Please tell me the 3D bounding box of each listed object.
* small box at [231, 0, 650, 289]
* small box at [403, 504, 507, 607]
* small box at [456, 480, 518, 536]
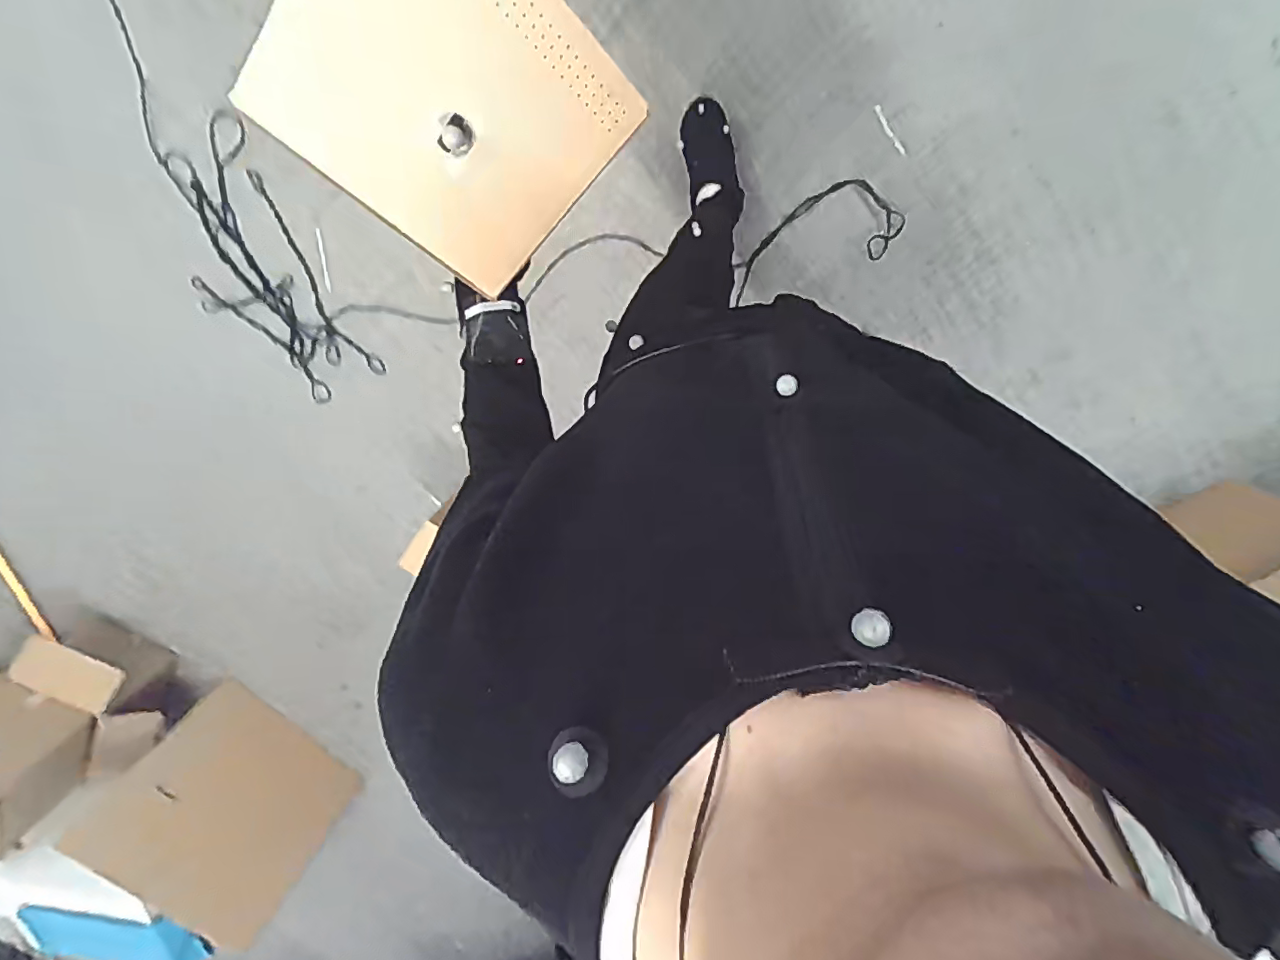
[{"bbox_3d":[-0.121,-0.277,0.367,0.176,0.168,0.179,-40,129,24],"label":"small box"},{"bbox_3d":[-0.479,0.193,1.432,0.179,0.176,0.168,36,111,-11],"label":"small box"},{"bbox_3d":[-0.479,0.131,1.582,0.168,0.176,0.179,40,112,-12],"label":"small box"}]
